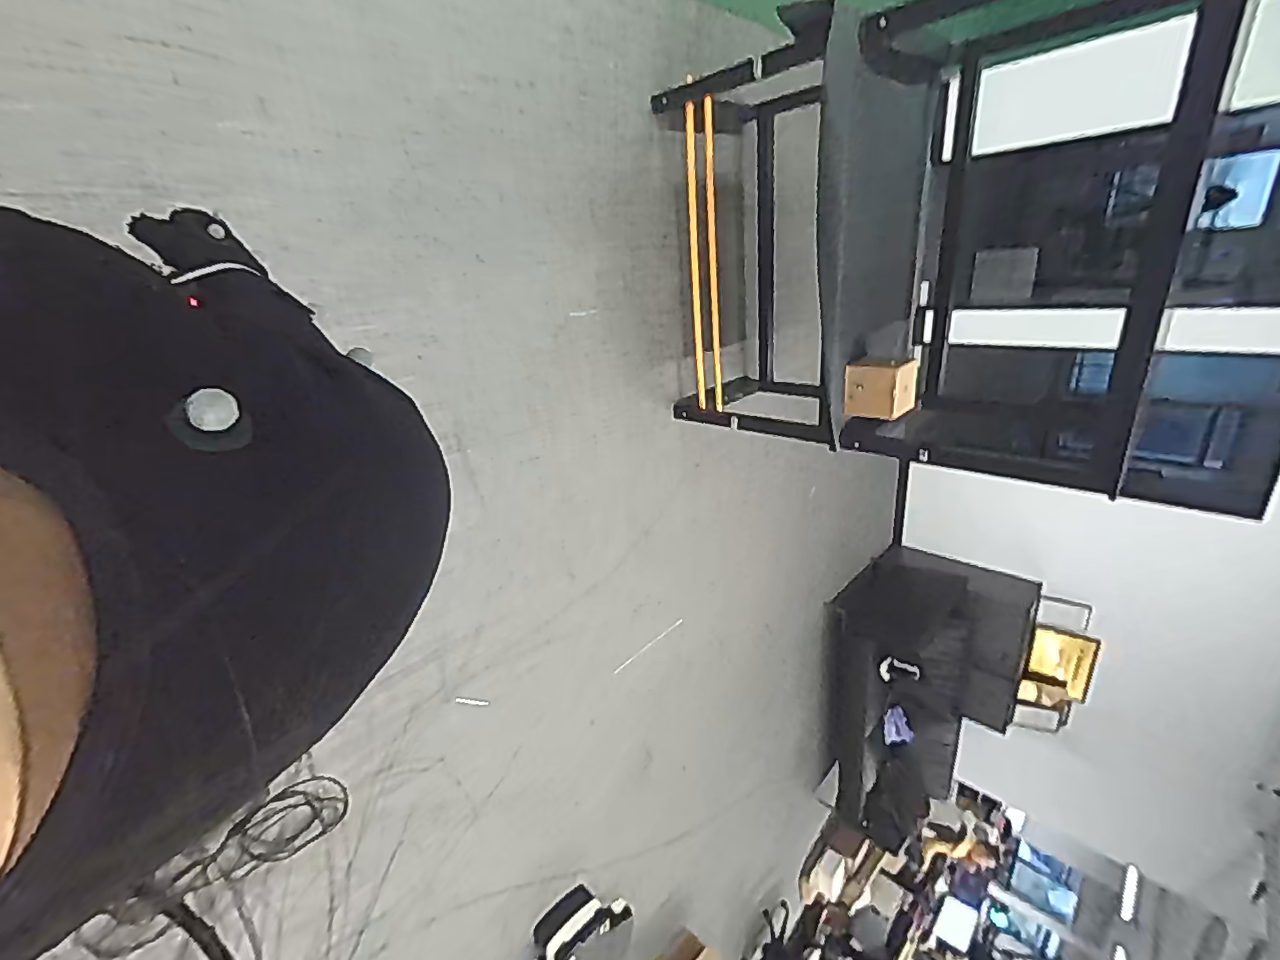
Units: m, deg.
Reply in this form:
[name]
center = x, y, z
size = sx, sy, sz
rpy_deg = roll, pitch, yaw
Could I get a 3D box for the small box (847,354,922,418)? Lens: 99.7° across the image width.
[small box]
center = 0.805, -0.316, 1.784
size = 0.179, 0.176, 0.168
rpy_deg = -26, 120, -39
